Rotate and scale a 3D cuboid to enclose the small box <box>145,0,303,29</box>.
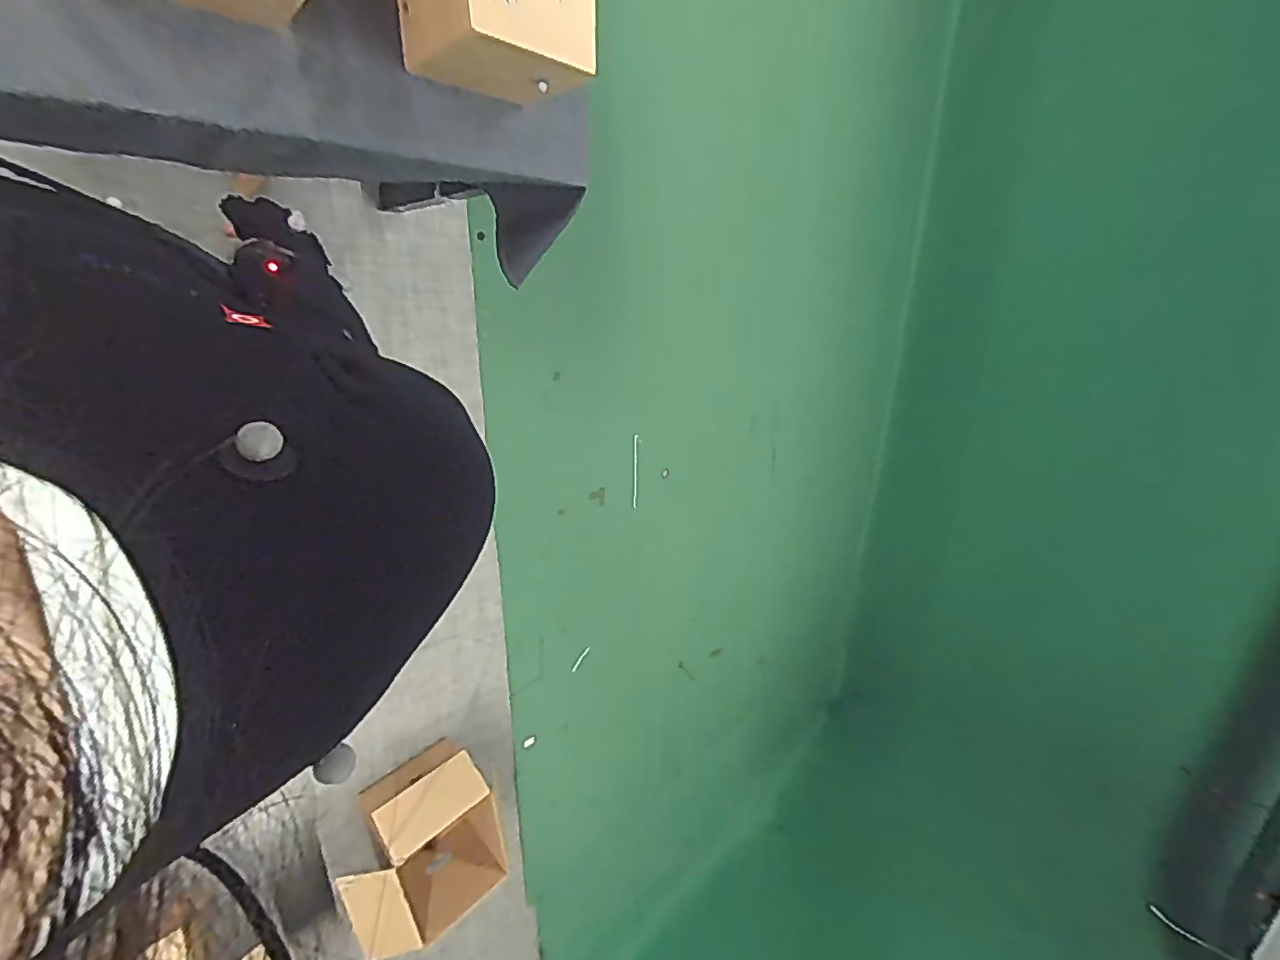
[{"bbox_3d":[-0.394,-0.516,0.448,0.179,0.176,0.168,-17,115,-41],"label":"small box"}]
